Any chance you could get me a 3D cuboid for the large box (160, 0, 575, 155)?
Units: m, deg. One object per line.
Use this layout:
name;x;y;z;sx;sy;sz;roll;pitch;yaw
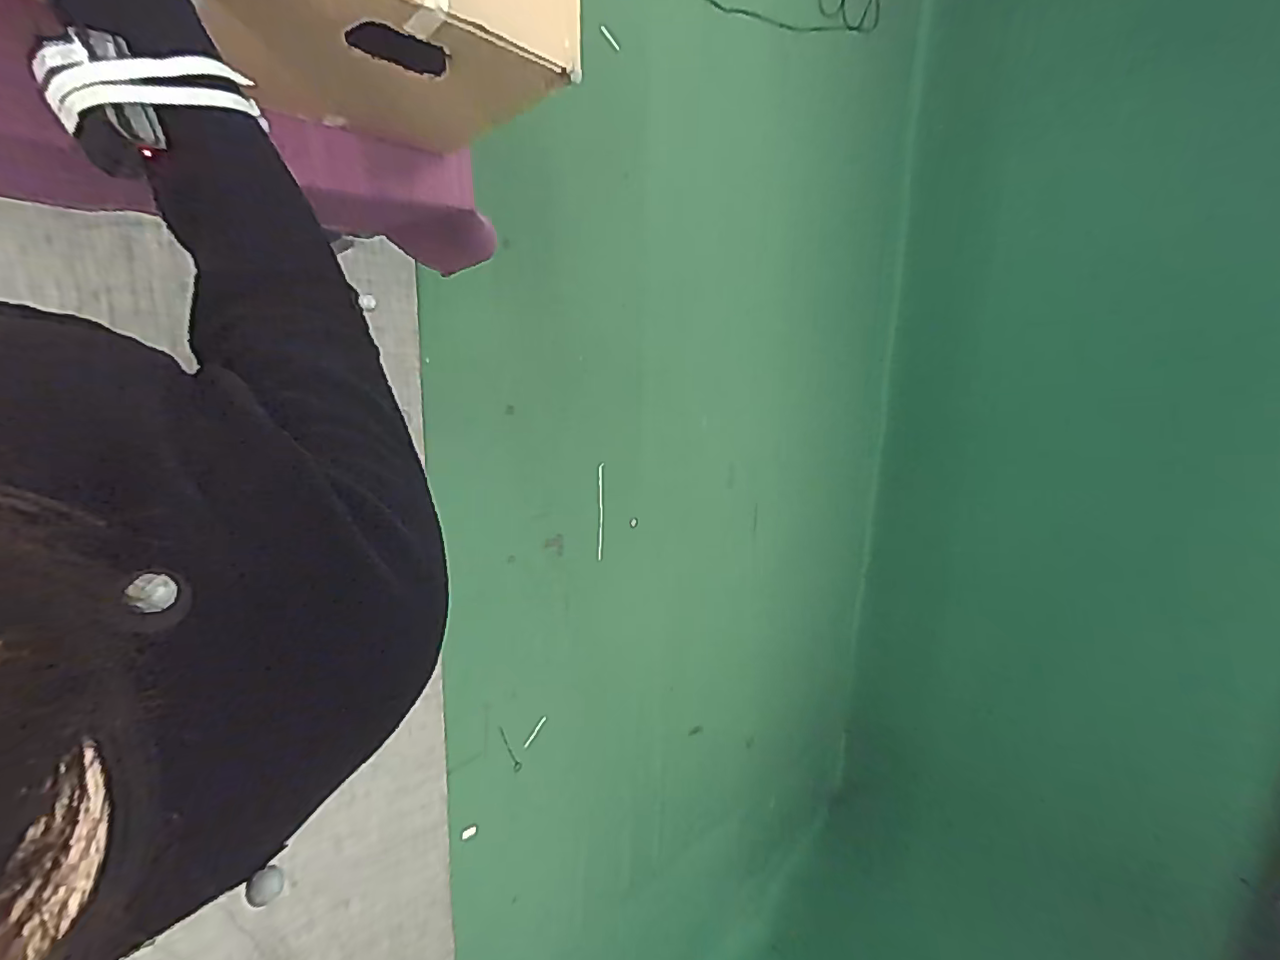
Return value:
large box;-0.281;-0.613;0.530;0.320;0.320;0.408;-11;107;-43
